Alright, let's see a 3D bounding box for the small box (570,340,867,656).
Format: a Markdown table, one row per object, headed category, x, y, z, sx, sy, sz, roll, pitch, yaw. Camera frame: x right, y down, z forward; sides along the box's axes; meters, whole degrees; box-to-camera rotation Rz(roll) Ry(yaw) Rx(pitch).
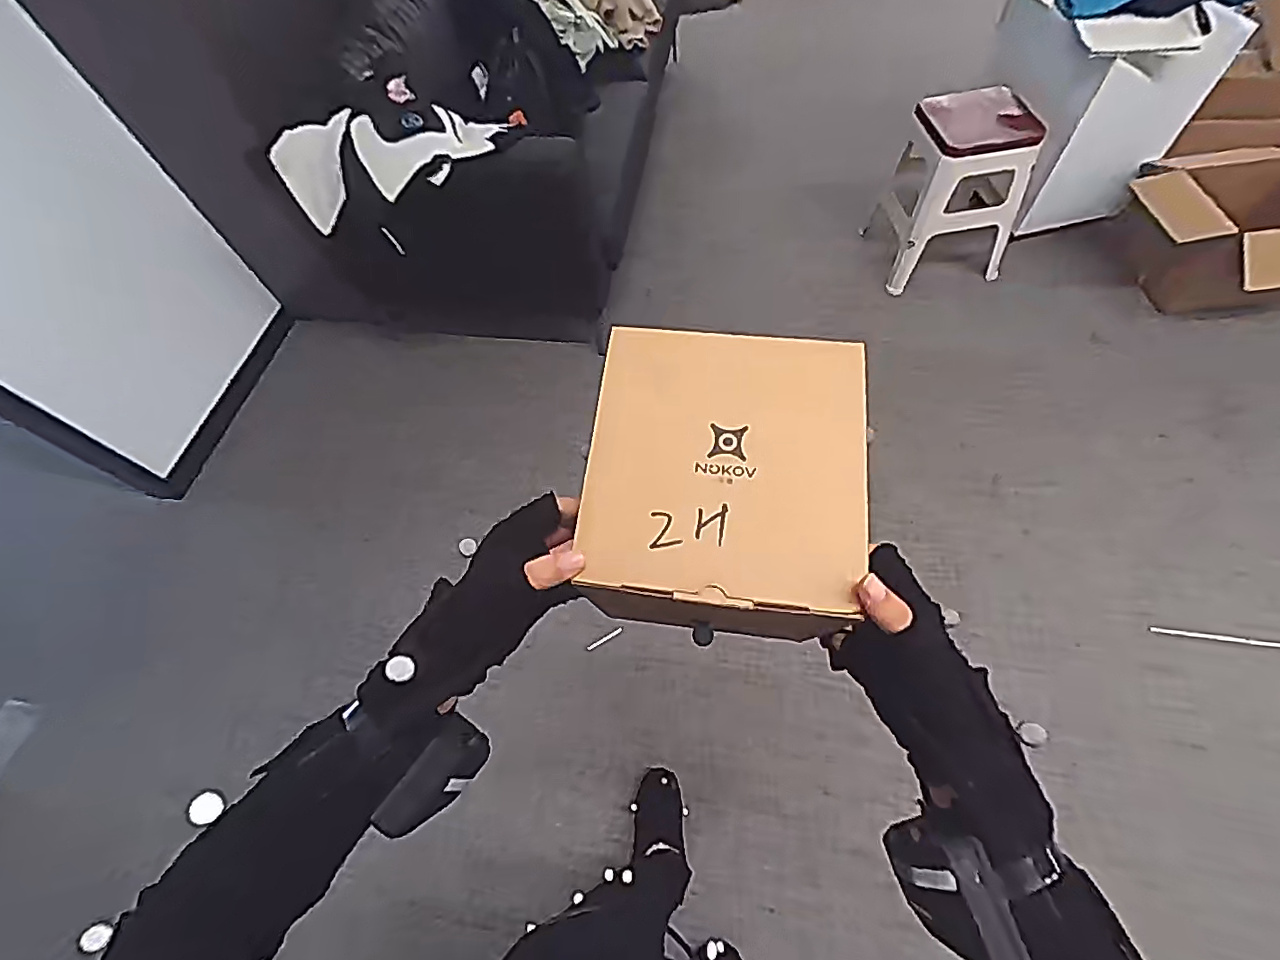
| category | x | y | z | sx | sy | sz | roll | pitch | yaw |
| --- | --- | --- | --- | --- | --- | --- | --- | --- | --- |
| small box | 0.057 | 0.023 | 0.400 | 0.168 | 0.176 | 0.179 | 6 | 69 | 7 |
